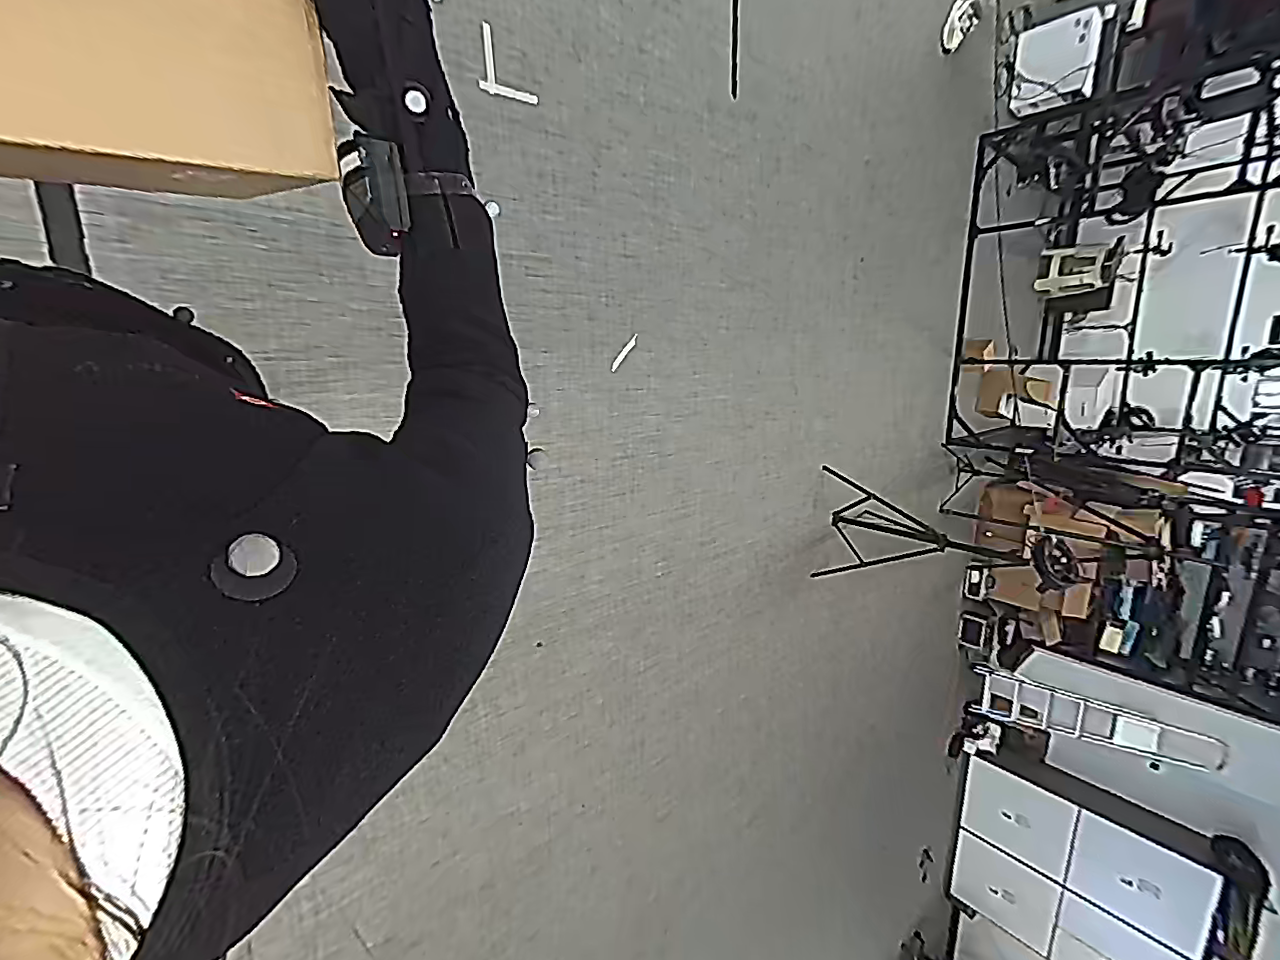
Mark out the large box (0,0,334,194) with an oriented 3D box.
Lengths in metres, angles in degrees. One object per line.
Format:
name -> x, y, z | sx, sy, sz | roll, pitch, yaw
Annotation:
large box -> -0.456, -0.349, 0.291 | 0.408, 0.320, 0.320 | -19, 121, -41
